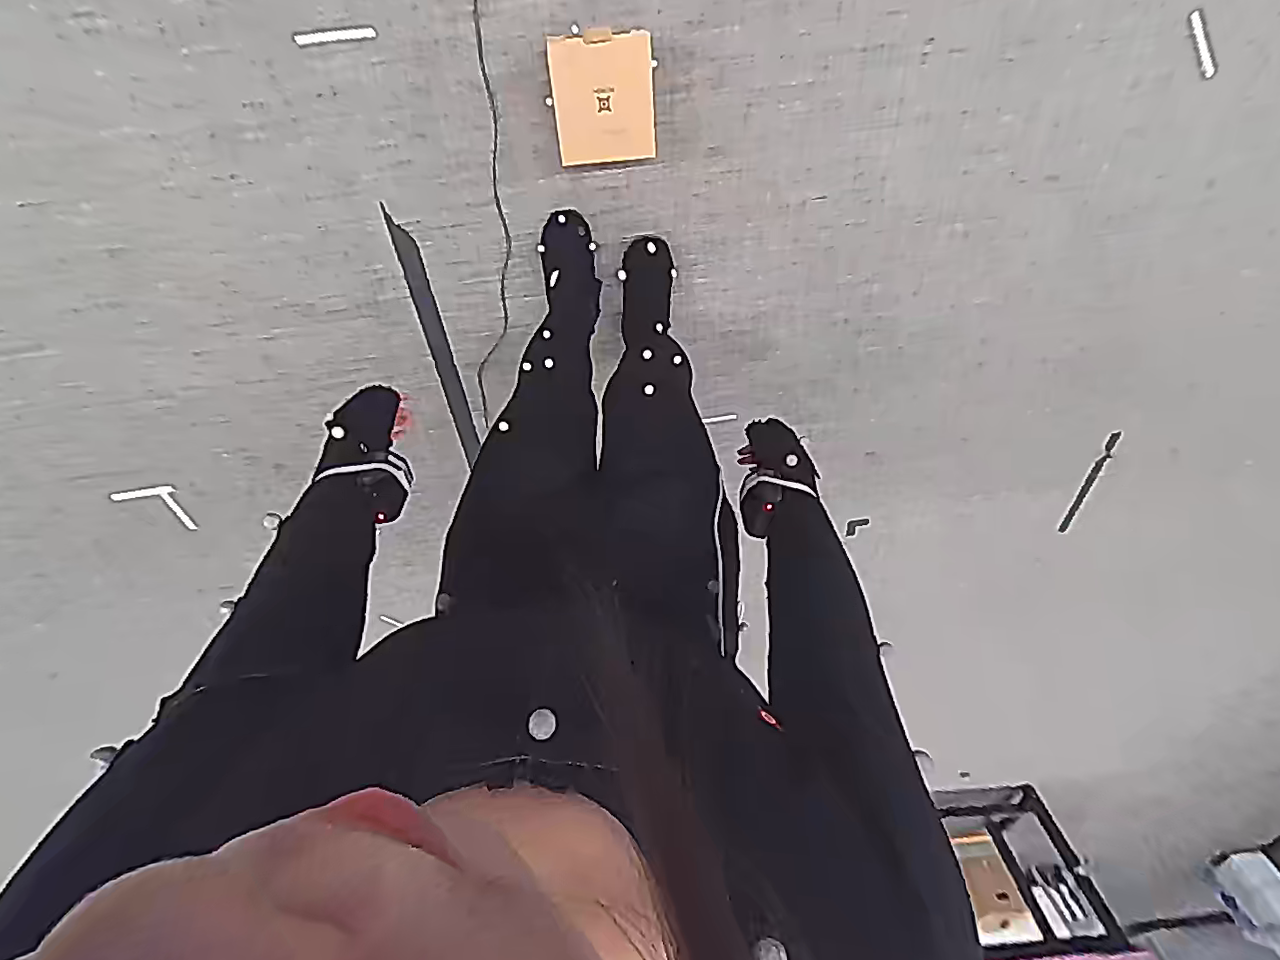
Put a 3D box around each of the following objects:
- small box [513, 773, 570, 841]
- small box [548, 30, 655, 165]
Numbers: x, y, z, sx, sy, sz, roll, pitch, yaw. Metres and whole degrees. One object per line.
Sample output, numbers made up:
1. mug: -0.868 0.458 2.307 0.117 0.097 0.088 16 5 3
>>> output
1. small box: -0.338 1.143 1.887 0.179 0.176 0.168 -2 128 -2
2. small box: -0.065 -0.668 0.949 0.168 0.176 0.179 -5 129 -1
